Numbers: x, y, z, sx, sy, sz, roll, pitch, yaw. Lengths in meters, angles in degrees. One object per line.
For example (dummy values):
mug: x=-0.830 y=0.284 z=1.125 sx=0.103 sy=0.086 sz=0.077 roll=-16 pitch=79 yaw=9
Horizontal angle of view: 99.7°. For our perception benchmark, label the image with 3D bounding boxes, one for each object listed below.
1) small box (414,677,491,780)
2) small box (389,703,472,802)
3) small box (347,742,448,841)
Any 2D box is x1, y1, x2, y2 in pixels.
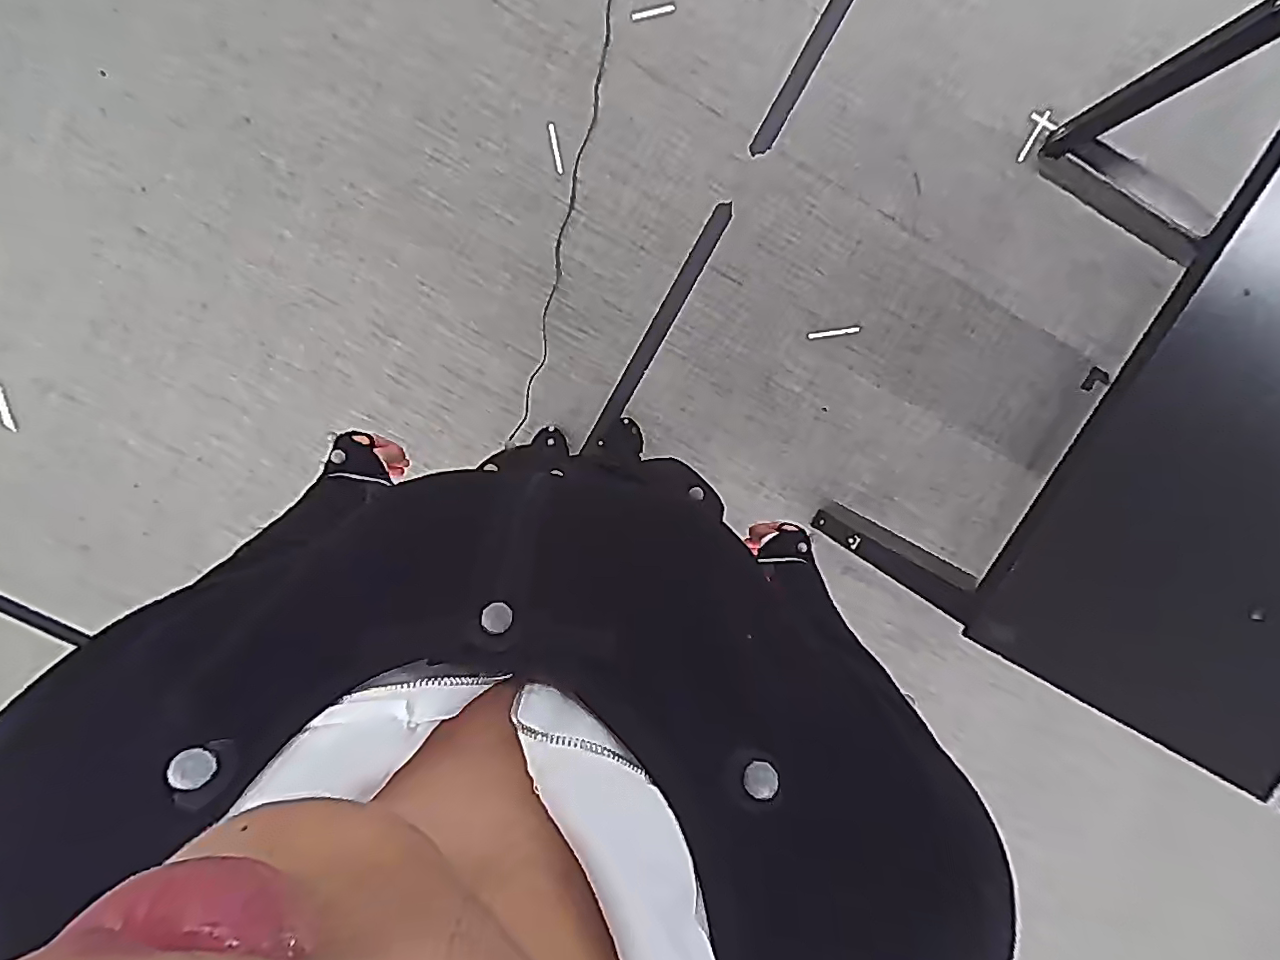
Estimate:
small box: x=-0.539 y=0.673 z=1.491 sx=0.179 sy=0.176 sz=0.168 roll=28 pitch=97 yaw=-6
small box: x=-0.537 y=0.693 z=1.328 sx=0.168 sy=0.176 sz=0.179 roll=26 pitch=98 yaw=-4
small box: x=-0.539 y=0.714 z=1.165 sx=0.168 sy=0.176 sz=0.179 roll=26 pitch=96 yaw=-4
